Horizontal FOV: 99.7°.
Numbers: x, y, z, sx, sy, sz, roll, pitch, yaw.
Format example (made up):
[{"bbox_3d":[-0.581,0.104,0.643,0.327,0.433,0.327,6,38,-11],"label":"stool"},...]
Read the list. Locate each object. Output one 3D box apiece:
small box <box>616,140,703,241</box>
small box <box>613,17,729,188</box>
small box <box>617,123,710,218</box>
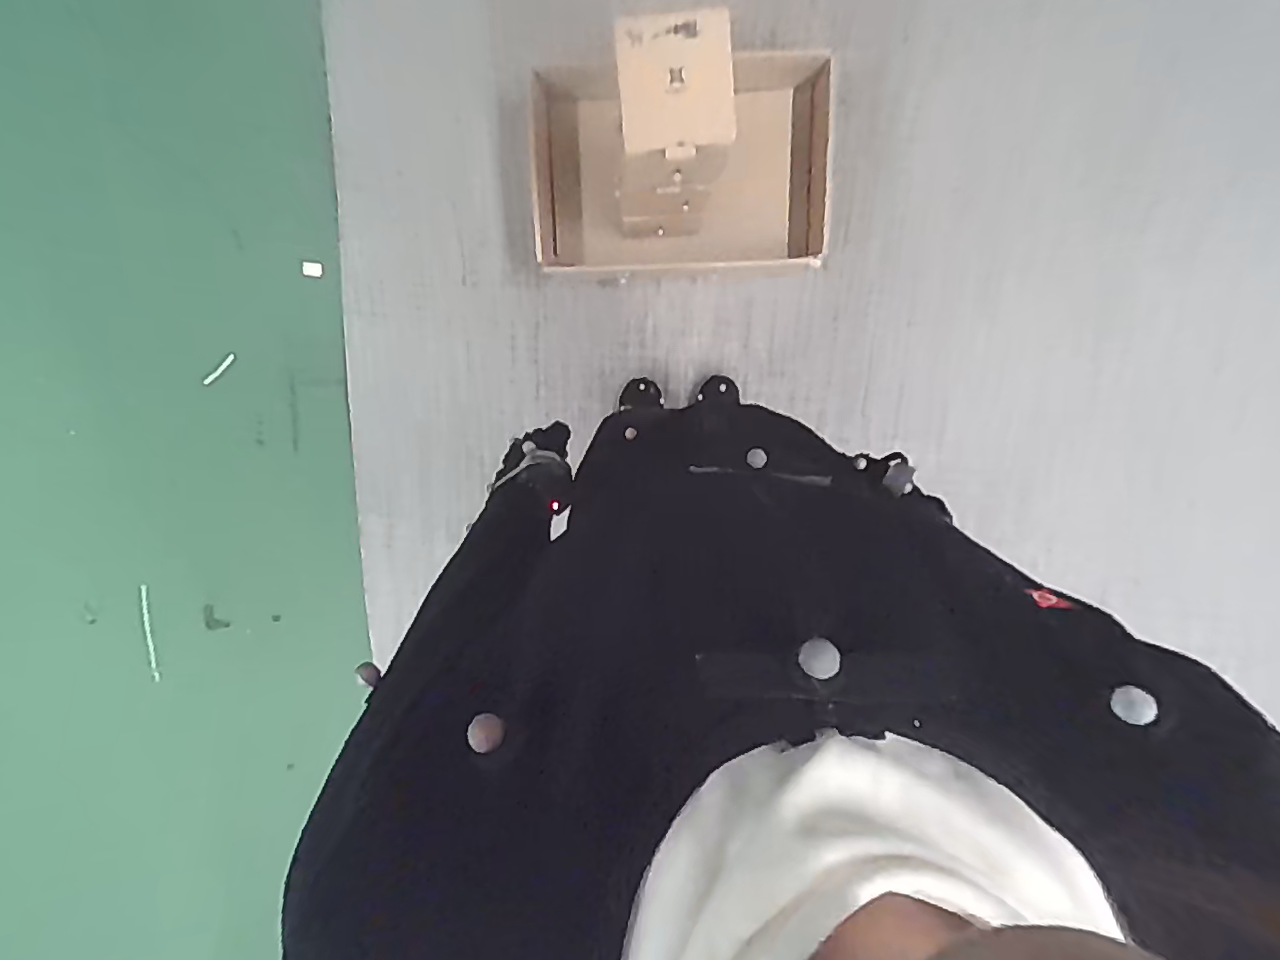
[{"bbox_3d":[0.043,-0.629,1.178,0.179,0.176,0.168,-2,101,3],"label":"small box"},{"bbox_3d":[0.048,-0.580,0.857,0.168,0.176,0.179,-3,102,1],"label":"small box"},{"bbox_3d":[0.043,-0.607,1.019,0.168,0.176,0.179,-1,100,0],"label":"small box"}]
